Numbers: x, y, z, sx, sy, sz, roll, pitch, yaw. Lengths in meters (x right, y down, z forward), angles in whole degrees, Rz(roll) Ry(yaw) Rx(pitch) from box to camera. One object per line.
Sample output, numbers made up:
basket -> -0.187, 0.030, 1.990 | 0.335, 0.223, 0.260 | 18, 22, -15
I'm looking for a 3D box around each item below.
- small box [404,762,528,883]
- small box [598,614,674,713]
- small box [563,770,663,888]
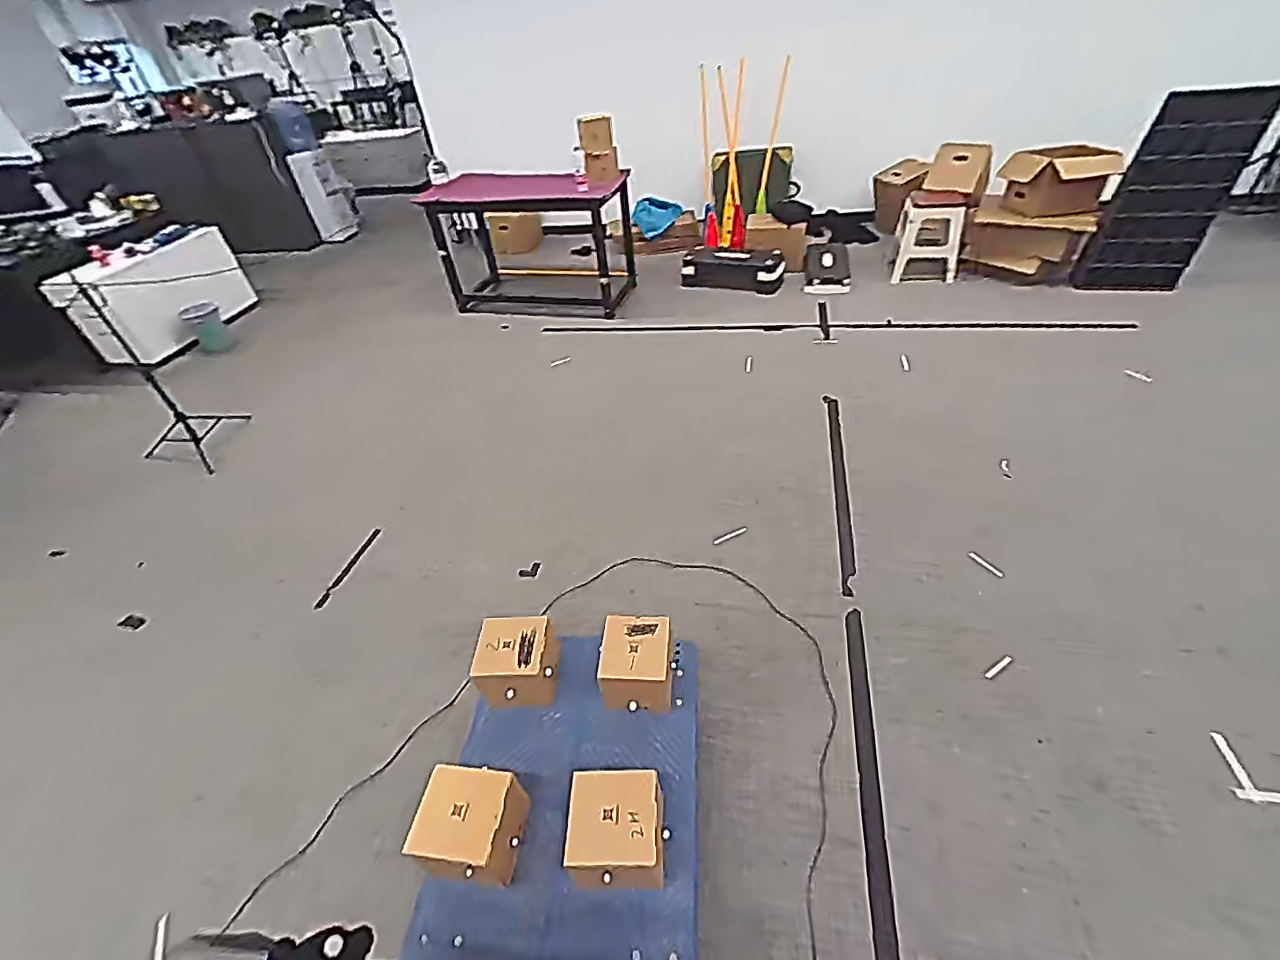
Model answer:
small box -> -0.354, 0.720, 1.135 | 0.179, 0.176, 0.168 | 2, 41, 8
small box -> -0.003, 0.466, 1.376 | 0.168, 0.176, 0.179 | 0, 43, 8
small box -> -0.047, 0.711, 1.101 | 0.179, 0.176, 0.168 | -3, 41, 5
